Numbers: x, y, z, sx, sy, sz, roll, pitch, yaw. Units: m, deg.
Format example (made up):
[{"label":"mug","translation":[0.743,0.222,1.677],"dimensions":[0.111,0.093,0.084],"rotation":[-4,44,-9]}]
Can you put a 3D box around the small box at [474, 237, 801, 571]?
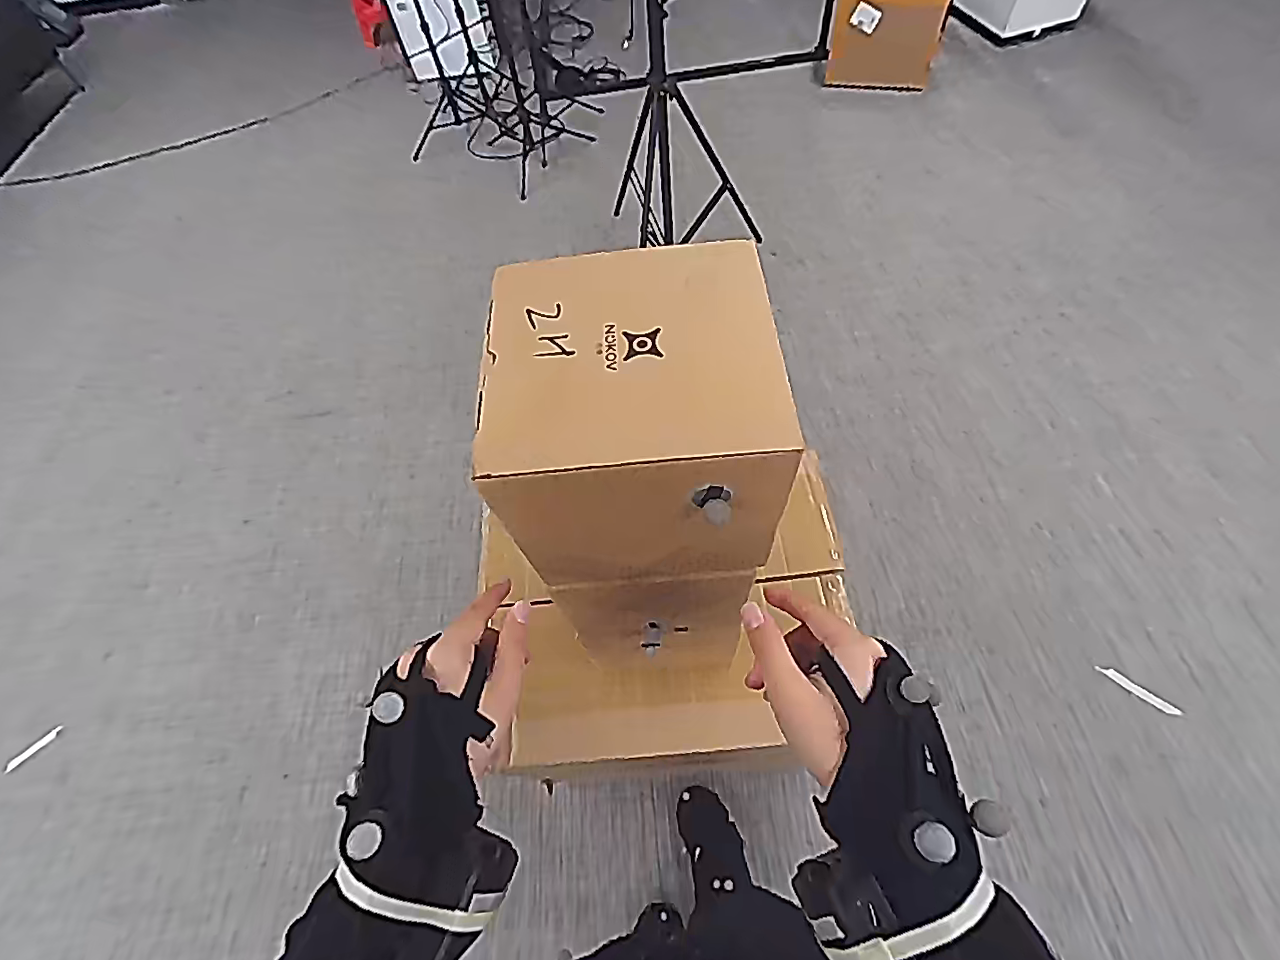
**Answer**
[{"label":"small box","translation":[0.000,-0.043,0.391],"dimensions":[0.179,0.176,0.168],"rotation":[-5,59,3]}]

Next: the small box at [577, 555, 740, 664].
[{"label":"small box","translation":[0.024,0.125,0.673],"dimensions":[0.179,0.176,0.168],"rotation":[-5,59,3]}]
